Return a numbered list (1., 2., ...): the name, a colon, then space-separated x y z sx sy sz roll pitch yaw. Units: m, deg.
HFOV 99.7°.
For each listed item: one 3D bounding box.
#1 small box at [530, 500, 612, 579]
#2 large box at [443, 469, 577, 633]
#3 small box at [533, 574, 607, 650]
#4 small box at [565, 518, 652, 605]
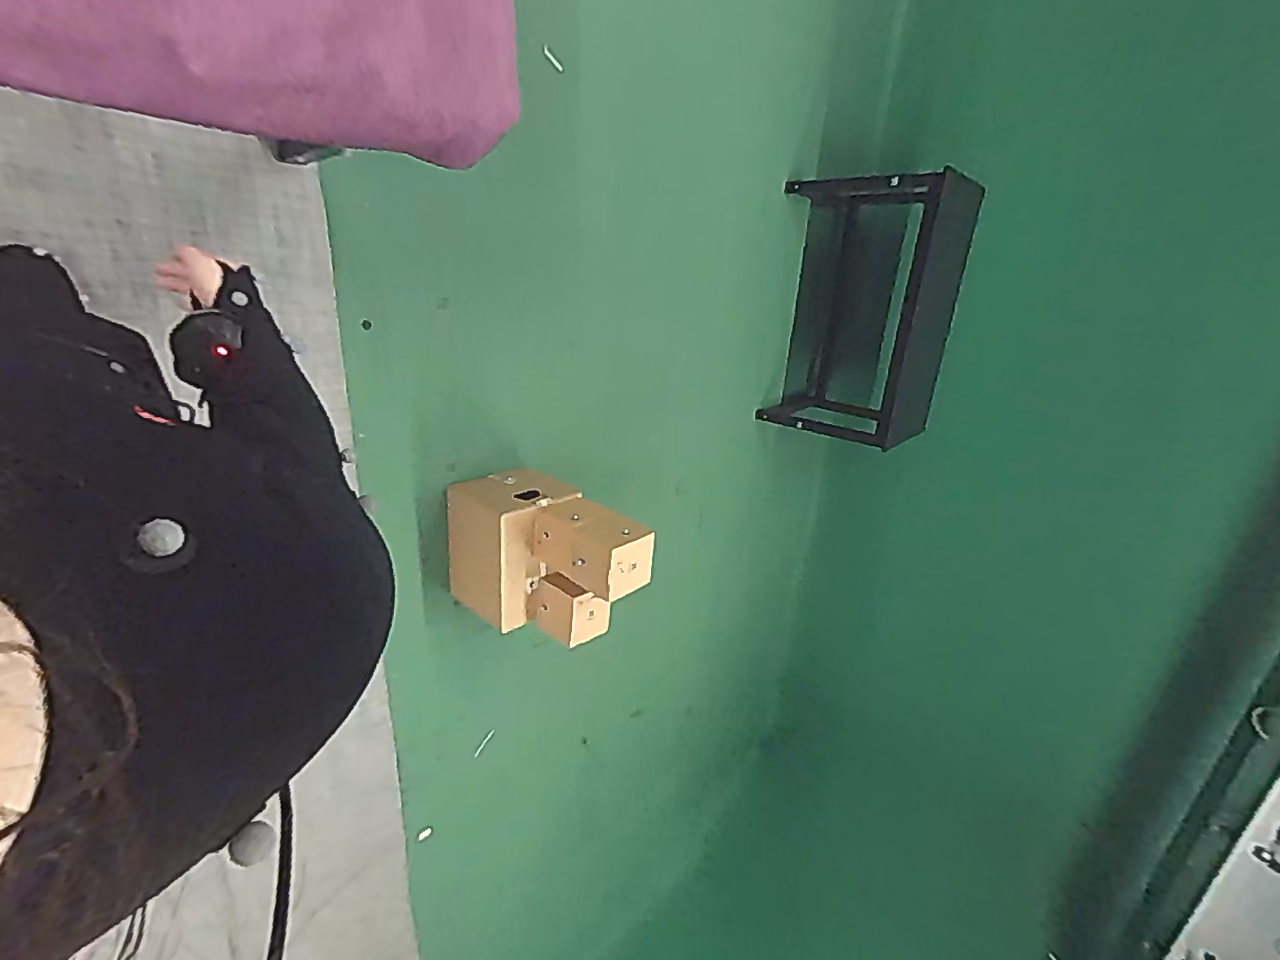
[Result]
1. small box: -0.210 0.173 1.643 0.179 0.176 0.168 -16 118 -46
2. large box: -0.432 0.215 1.791 0.320 0.320 0.408 -15 118 -45
3. small box: -0.225 0.407 1.727 0.168 0.176 0.179 -9 113 -49
4. small box: -0.090 0.222 1.542 0.179 0.176 0.168 -17 119 -45
